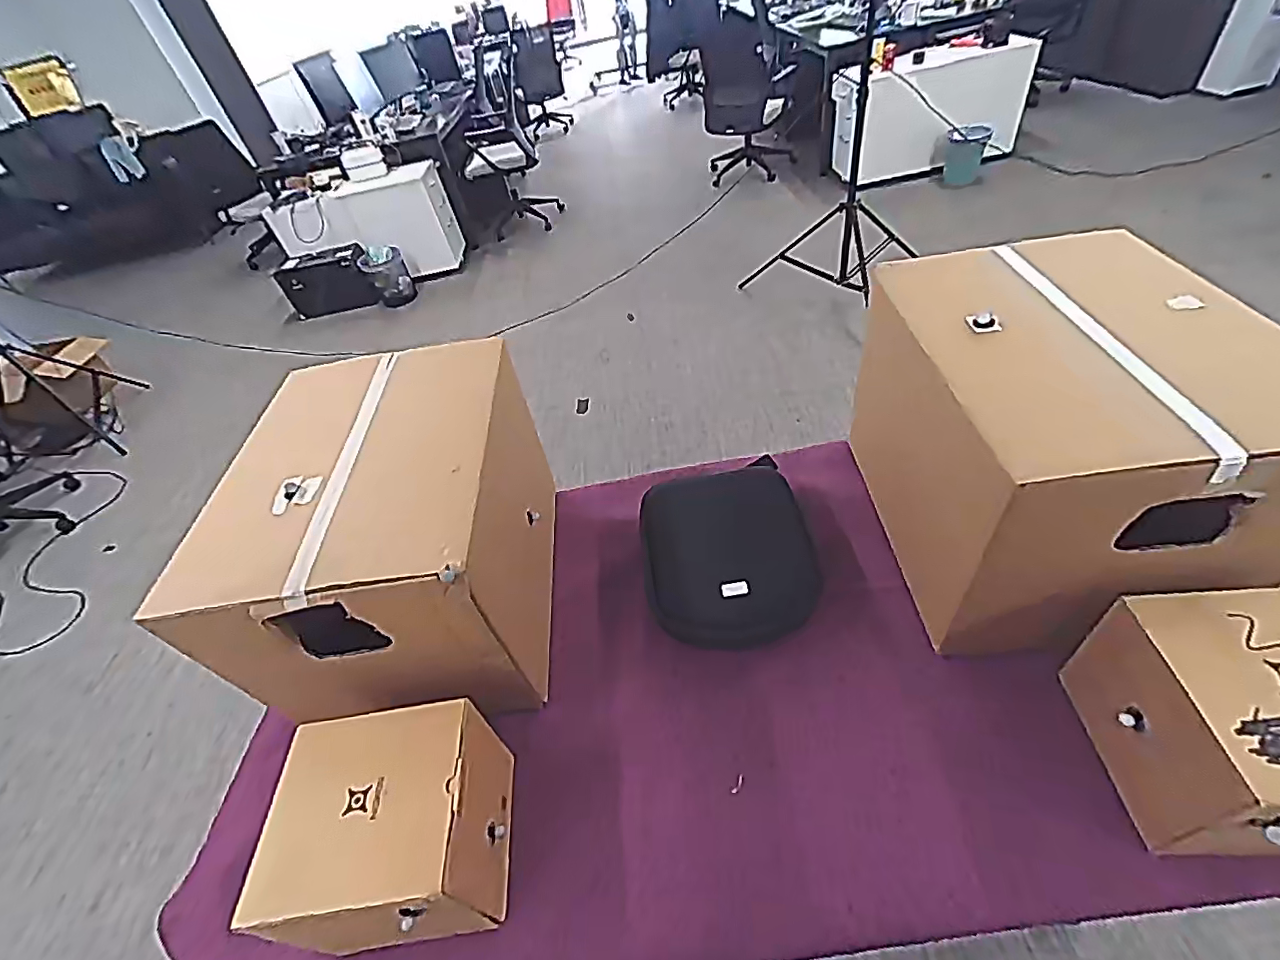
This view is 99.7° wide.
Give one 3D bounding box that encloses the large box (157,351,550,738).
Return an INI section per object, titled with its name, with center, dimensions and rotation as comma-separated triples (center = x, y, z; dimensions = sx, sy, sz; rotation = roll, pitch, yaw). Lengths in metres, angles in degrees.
[large box]
center = -0.309, 0.081, 0.745
dimensions = 0.320, 0.320, 0.408
rotation = -10, 47, 2
